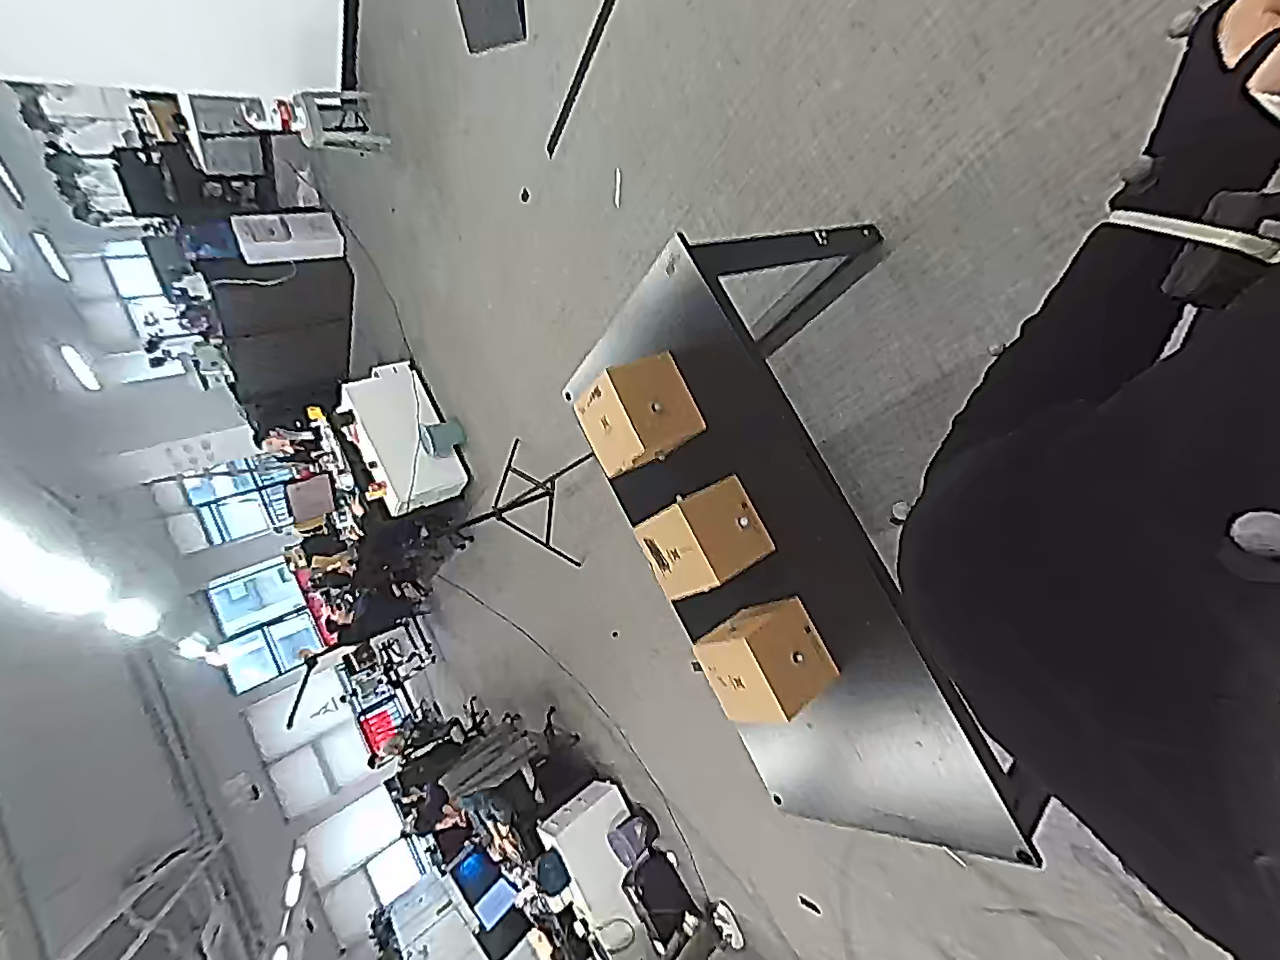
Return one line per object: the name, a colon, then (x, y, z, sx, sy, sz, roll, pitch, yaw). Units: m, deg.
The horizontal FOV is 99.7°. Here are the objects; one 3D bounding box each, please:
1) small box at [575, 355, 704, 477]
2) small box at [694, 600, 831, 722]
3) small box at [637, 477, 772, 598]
small box: (0.001, -0.133, 1.112, 0.168, 0.176, 0.179, -32, 84, 55)
small box: (0.246, 0.352, 1.063, 0.179, 0.176, 0.168, -36, 79, 55)
small box: (0.129, 0.116, 1.085, 0.179, 0.176, 0.168, -36, 80, 54)
